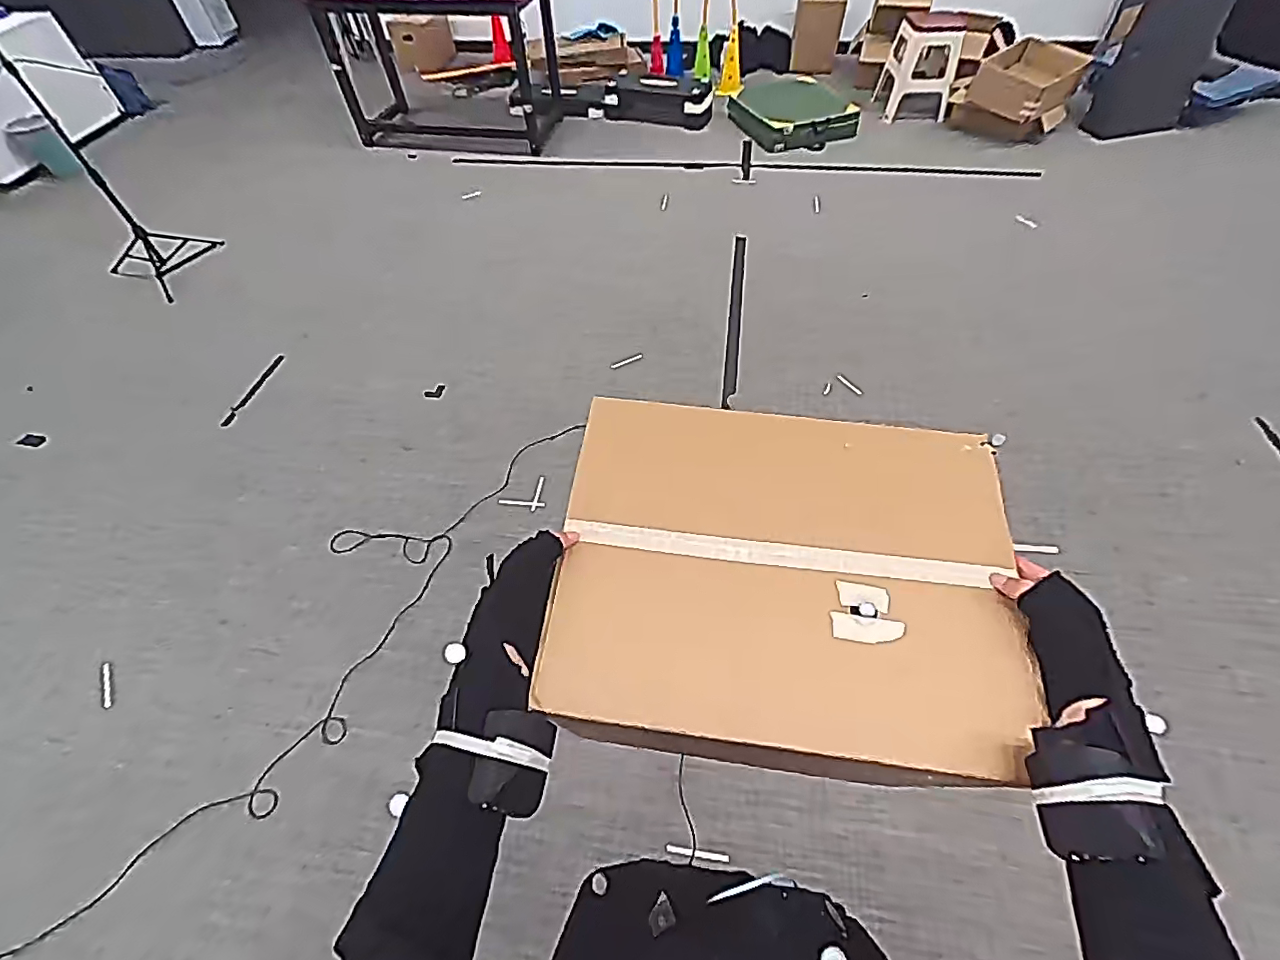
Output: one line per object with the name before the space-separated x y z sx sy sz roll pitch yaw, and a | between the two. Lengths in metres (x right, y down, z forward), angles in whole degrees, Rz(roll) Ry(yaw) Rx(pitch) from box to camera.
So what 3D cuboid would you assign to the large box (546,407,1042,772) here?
large box | 0.134 0.143 0.631 0.408 0.320 0.320 6 62 4
